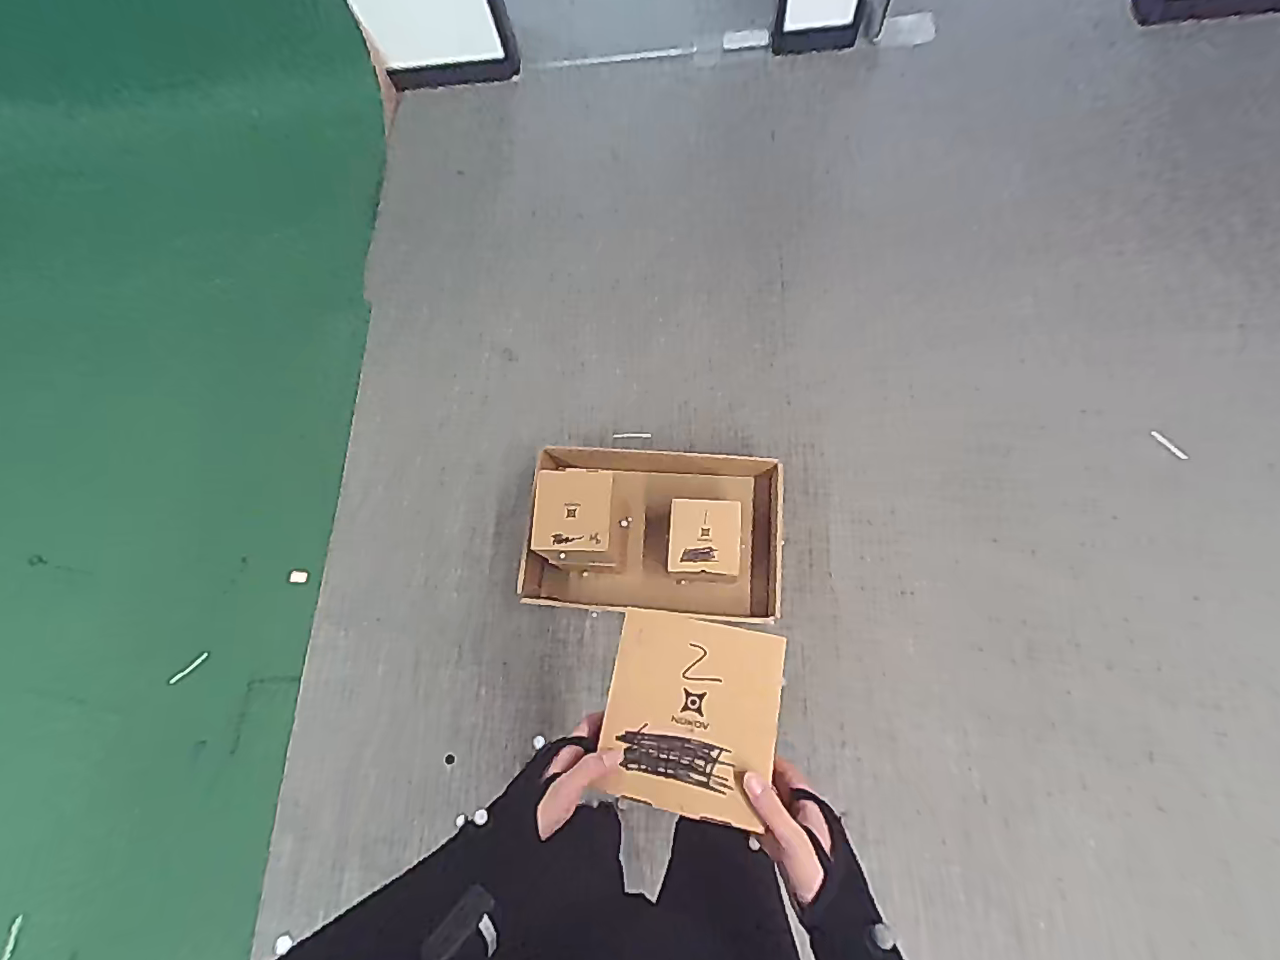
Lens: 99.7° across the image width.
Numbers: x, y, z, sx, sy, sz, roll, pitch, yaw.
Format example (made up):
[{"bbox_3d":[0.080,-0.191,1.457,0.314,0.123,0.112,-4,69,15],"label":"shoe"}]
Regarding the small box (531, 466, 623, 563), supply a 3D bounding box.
[{"bbox_3d":[-0.131,0.081,1.205,0.168,0.176,0.179,1,72,7],"label":"small box"}]
